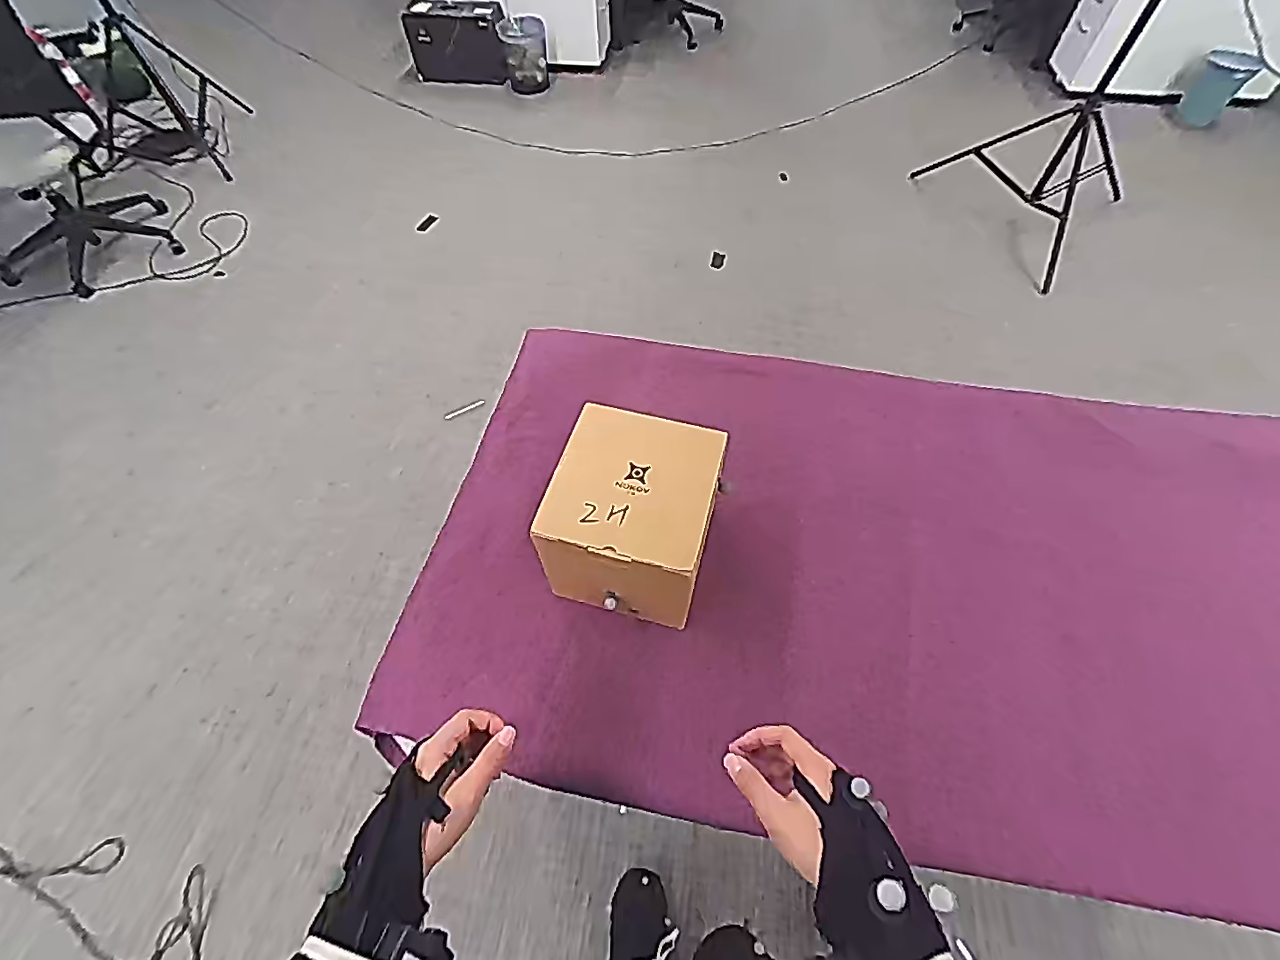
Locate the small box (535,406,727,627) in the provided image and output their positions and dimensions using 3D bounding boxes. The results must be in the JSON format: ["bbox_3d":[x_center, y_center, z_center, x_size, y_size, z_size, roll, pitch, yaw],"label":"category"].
[{"bbox_3d":[-0.005,0.046,0.632,0.168,0.176,0.179,13,58,9],"label":"small box"}]
